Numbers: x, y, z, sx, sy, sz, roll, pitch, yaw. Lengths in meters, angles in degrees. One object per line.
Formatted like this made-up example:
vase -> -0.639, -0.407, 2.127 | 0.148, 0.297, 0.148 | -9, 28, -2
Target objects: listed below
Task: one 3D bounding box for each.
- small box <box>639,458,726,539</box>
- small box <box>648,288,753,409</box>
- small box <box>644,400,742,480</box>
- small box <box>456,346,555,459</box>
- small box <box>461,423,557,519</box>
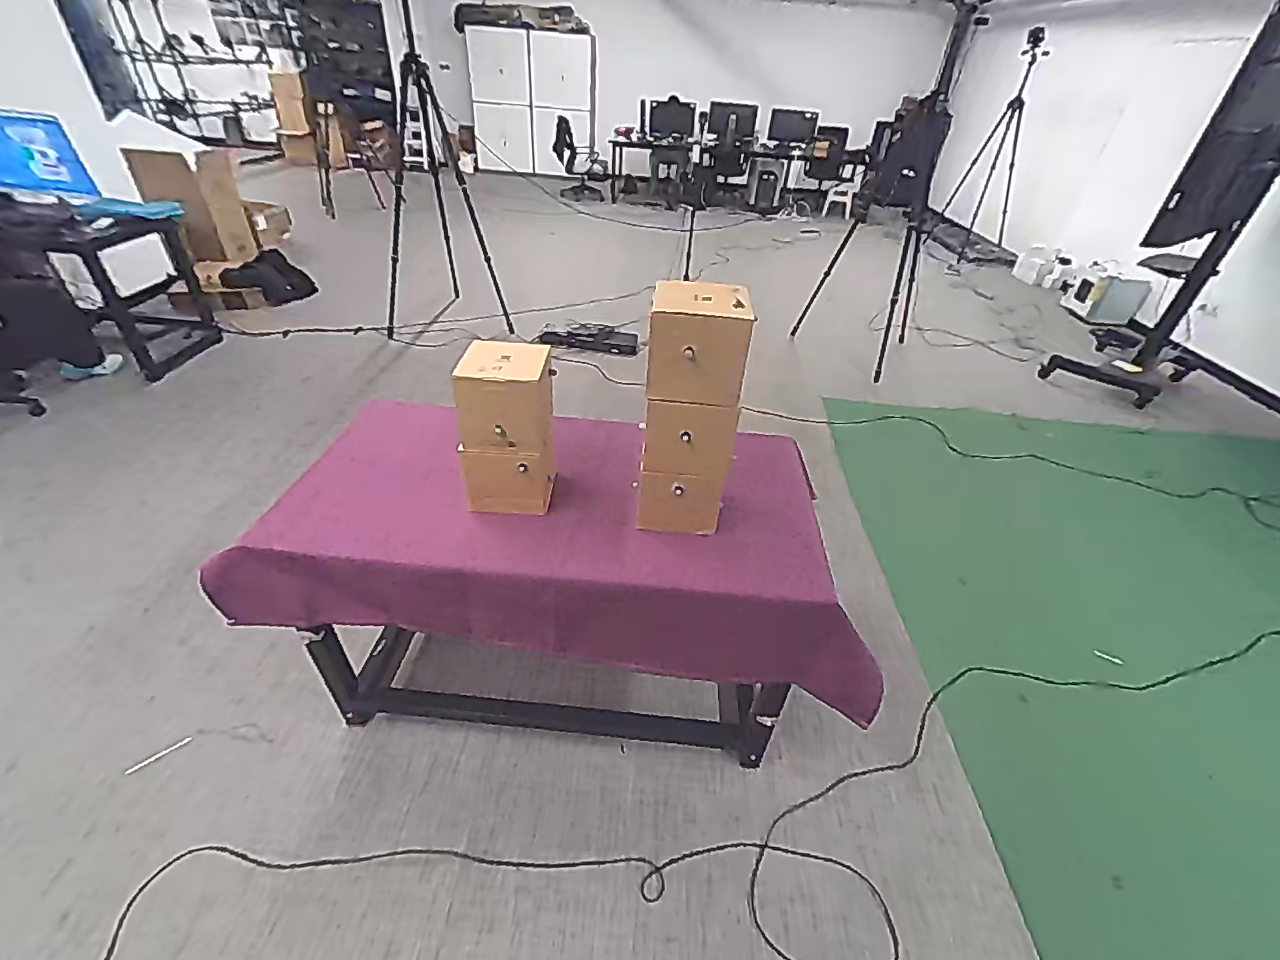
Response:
small box -> 0.093, 0.015, 1.207 | 0.179, 0.176, 0.168 | 6, 37, 2
small box -> 0.108, -0.246, 1.007 | 0.179, 0.176, 0.168 | 4, 38, 3
small box -> 0.106, -0.114, 1.106 | 0.179, 0.176, 0.168 | 5, 38, 3
small box -> -0.273, -0.165, 1.139 | 0.168, 0.176, 0.179 | 3, 36, -1
small box -> -0.289, -0.027, 1.230 | 0.179, 0.176, 0.168 | 4, 37, -2
